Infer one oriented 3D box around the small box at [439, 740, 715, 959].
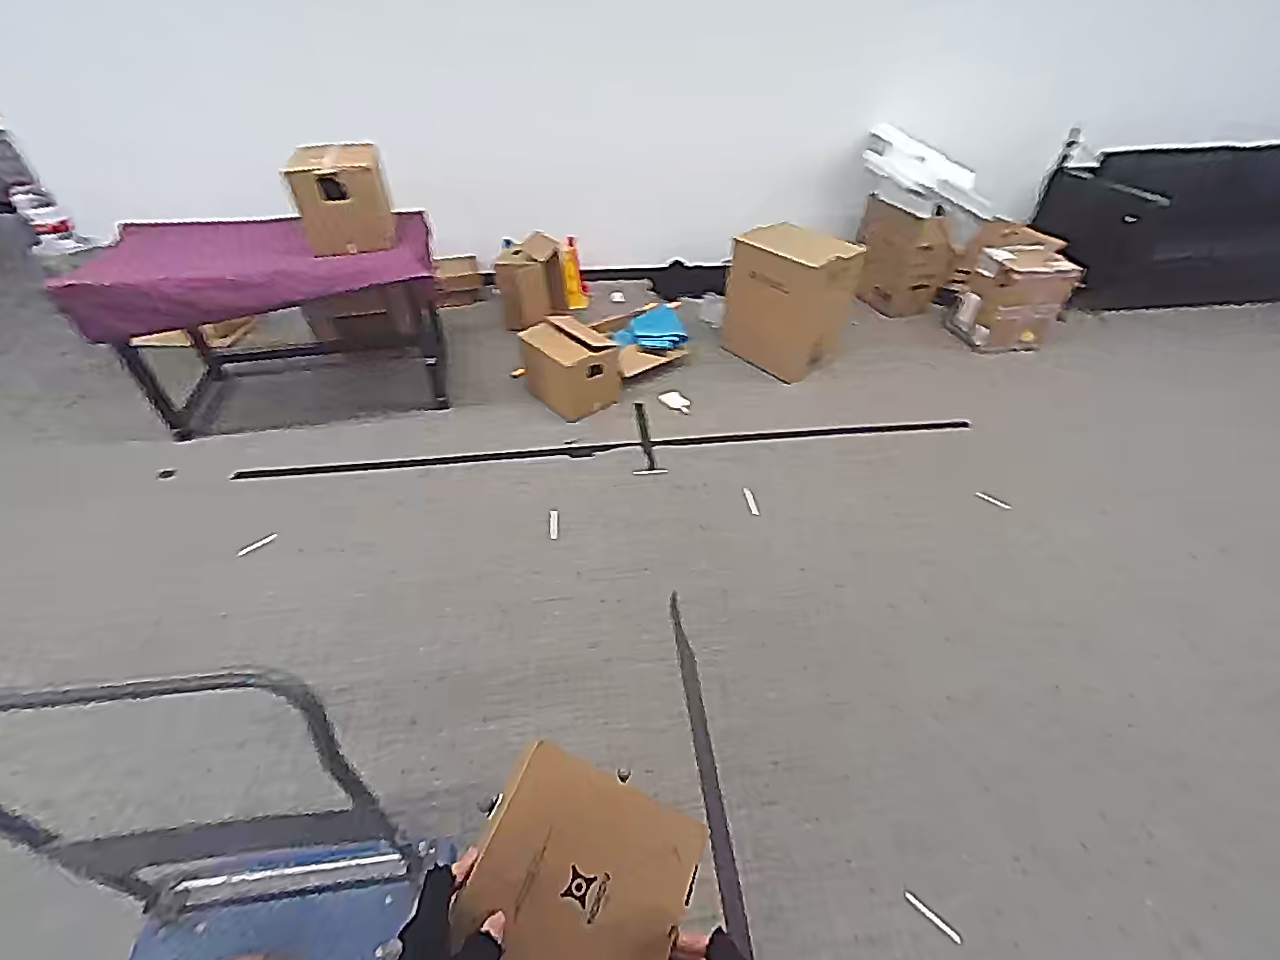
[{"bbox_3d":[-0.060,0.364,0.507,0.179,0.176,0.168,28,59,0],"label":"small box"}]
